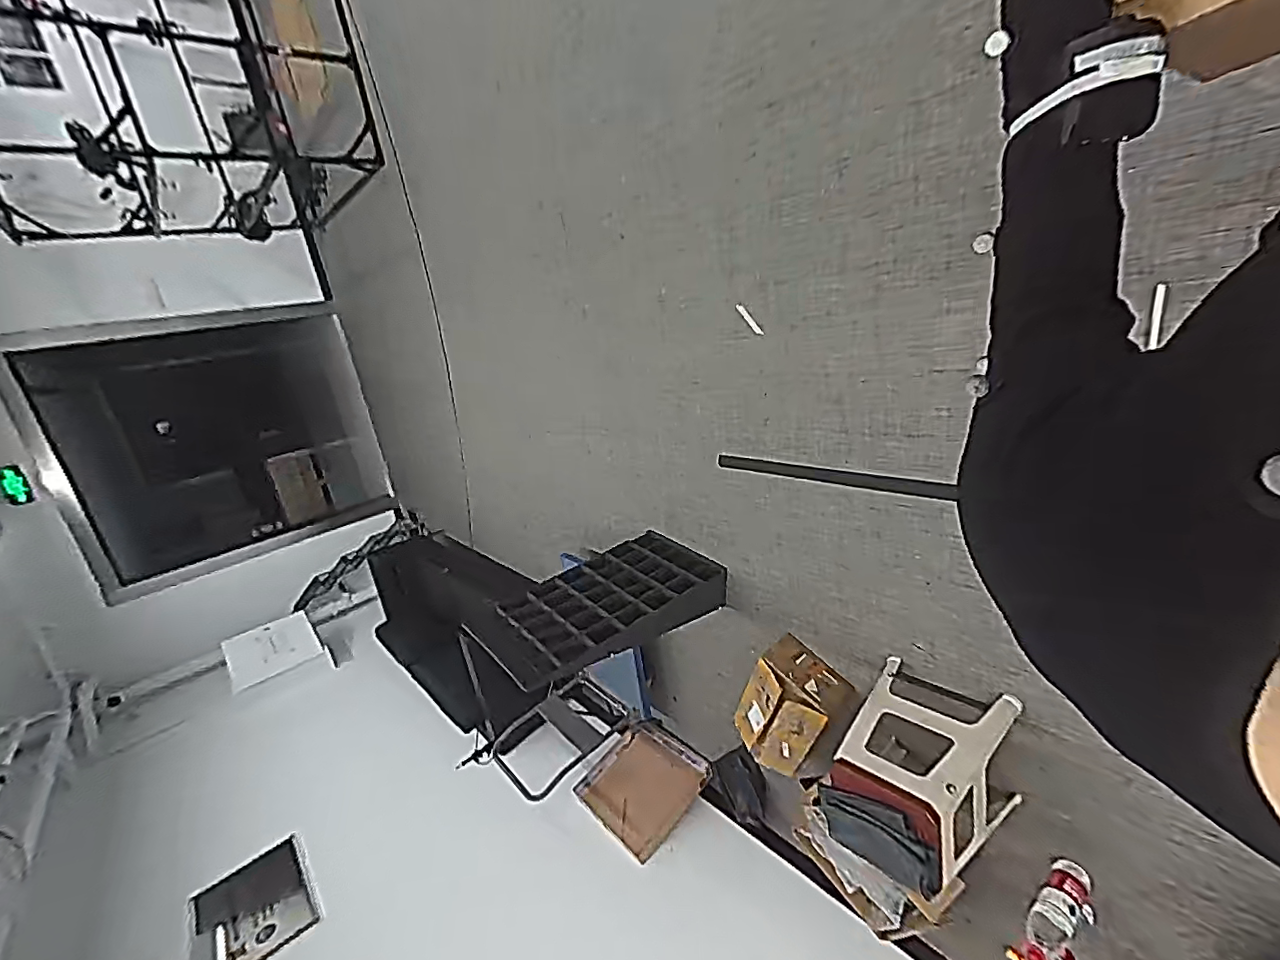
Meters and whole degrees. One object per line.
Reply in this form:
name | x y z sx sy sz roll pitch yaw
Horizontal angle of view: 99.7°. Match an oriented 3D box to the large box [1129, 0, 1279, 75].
large box | 0.530 -0.491 0.268 0.408 0.320 0.320 3 112 53
